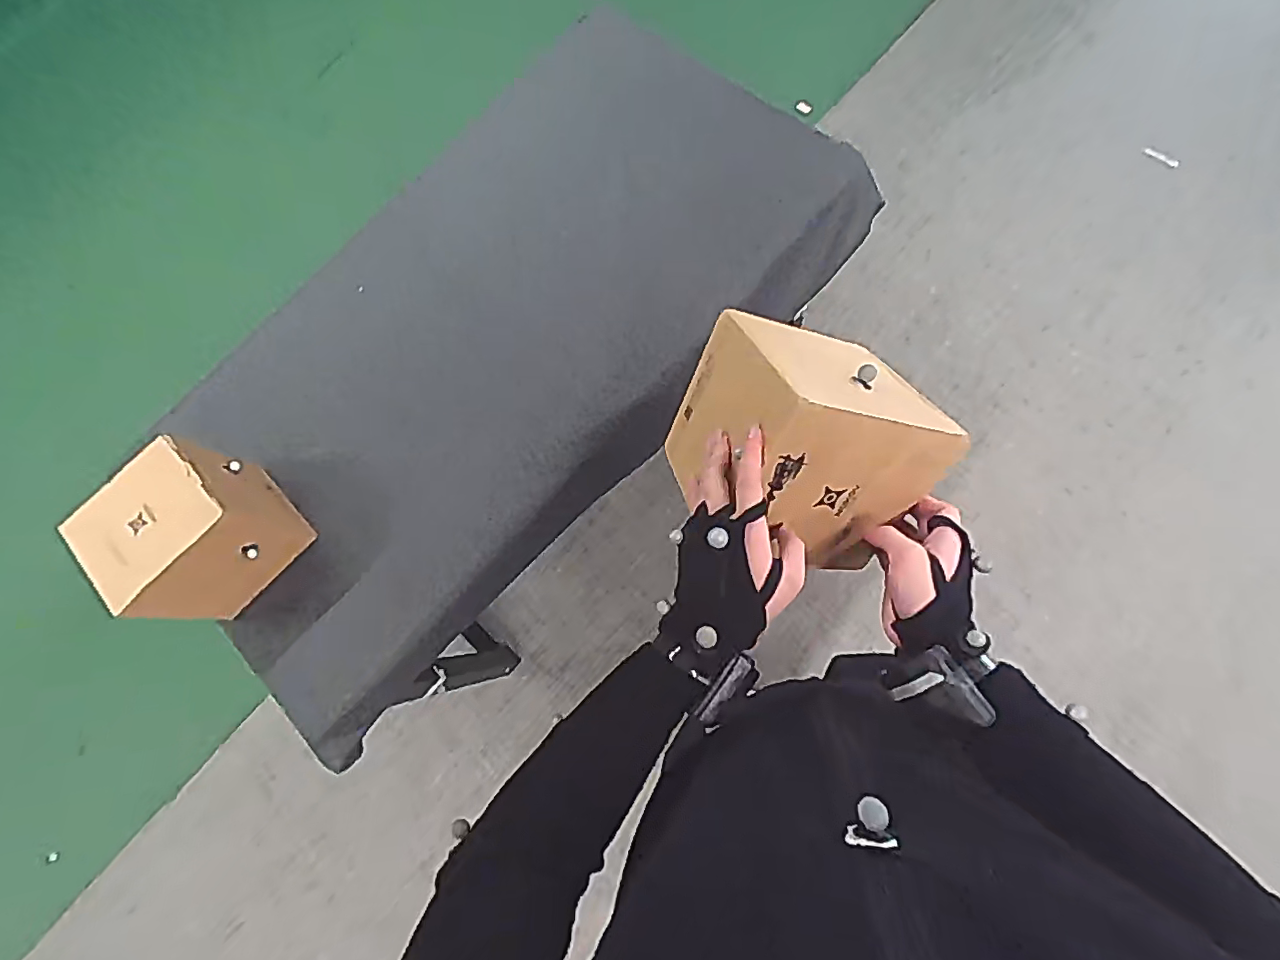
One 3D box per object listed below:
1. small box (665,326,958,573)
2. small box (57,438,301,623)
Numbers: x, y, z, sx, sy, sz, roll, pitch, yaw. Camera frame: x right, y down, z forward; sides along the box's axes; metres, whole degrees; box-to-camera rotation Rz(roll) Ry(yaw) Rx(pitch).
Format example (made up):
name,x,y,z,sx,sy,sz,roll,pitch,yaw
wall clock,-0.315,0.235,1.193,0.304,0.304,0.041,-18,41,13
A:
name,x,y,z,sx,sy,sz,roll,pitch,yaw
small box,0.147,-0.030,0.525,0.179,0.168,0.176,7,36,-22
small box,-0.614,0.078,0.748,0.179,0.176,0.168,-45,72,-6
